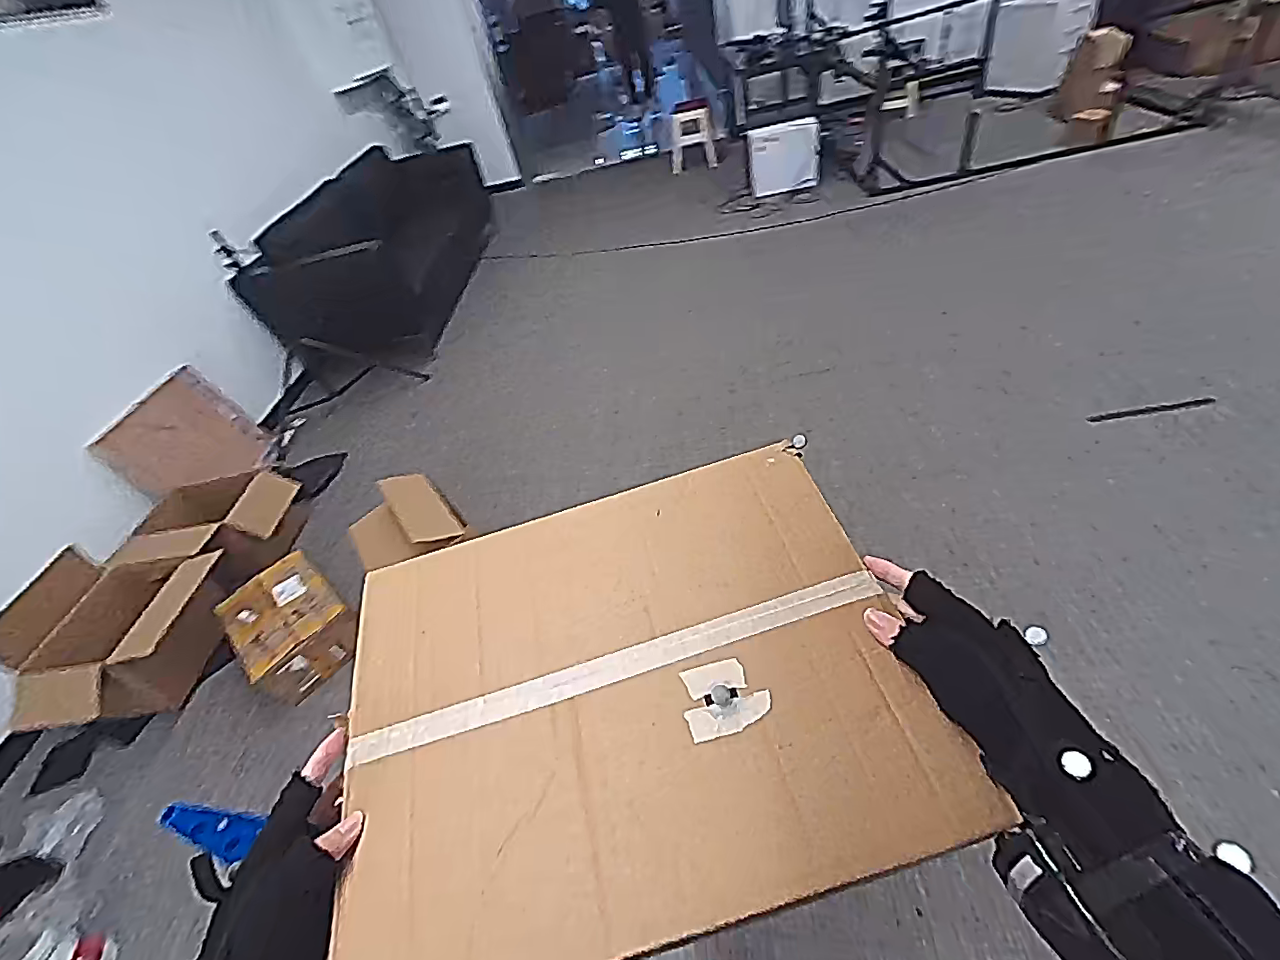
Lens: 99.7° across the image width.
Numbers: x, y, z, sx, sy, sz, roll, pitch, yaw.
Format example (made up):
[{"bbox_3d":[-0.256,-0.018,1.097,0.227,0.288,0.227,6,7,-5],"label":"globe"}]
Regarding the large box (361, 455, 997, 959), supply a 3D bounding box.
[{"bbox_3d":[0.015,0.237,0.524,0.408,0.320,0.320,-17,51,-2],"label":"large box"}]
